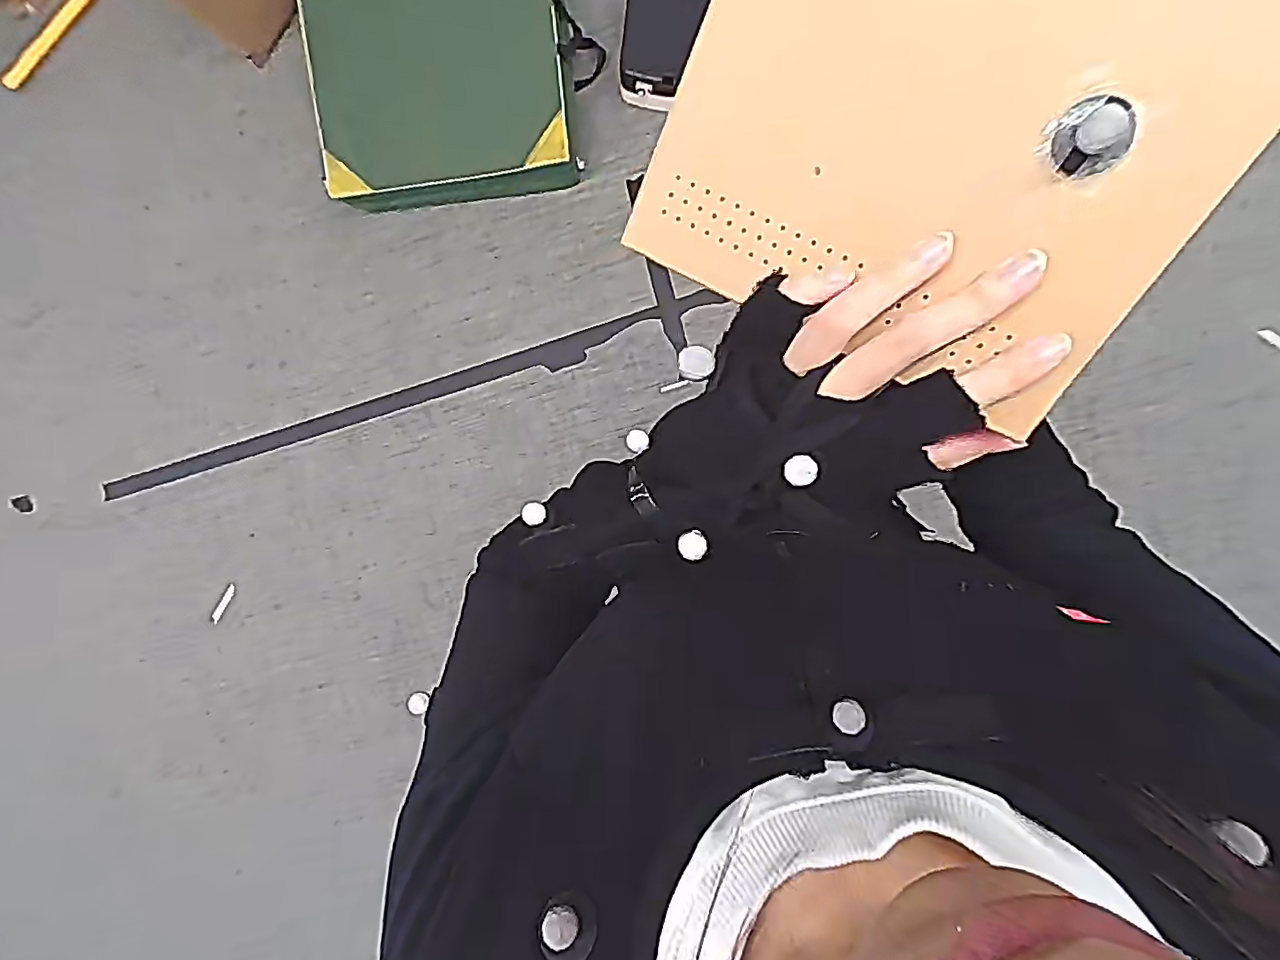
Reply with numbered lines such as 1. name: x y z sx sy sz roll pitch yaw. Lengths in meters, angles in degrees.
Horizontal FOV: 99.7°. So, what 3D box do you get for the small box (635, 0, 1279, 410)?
1. small box: 0.124 -0.144 0.256 0.179 0.168 0.176 29 114 7
